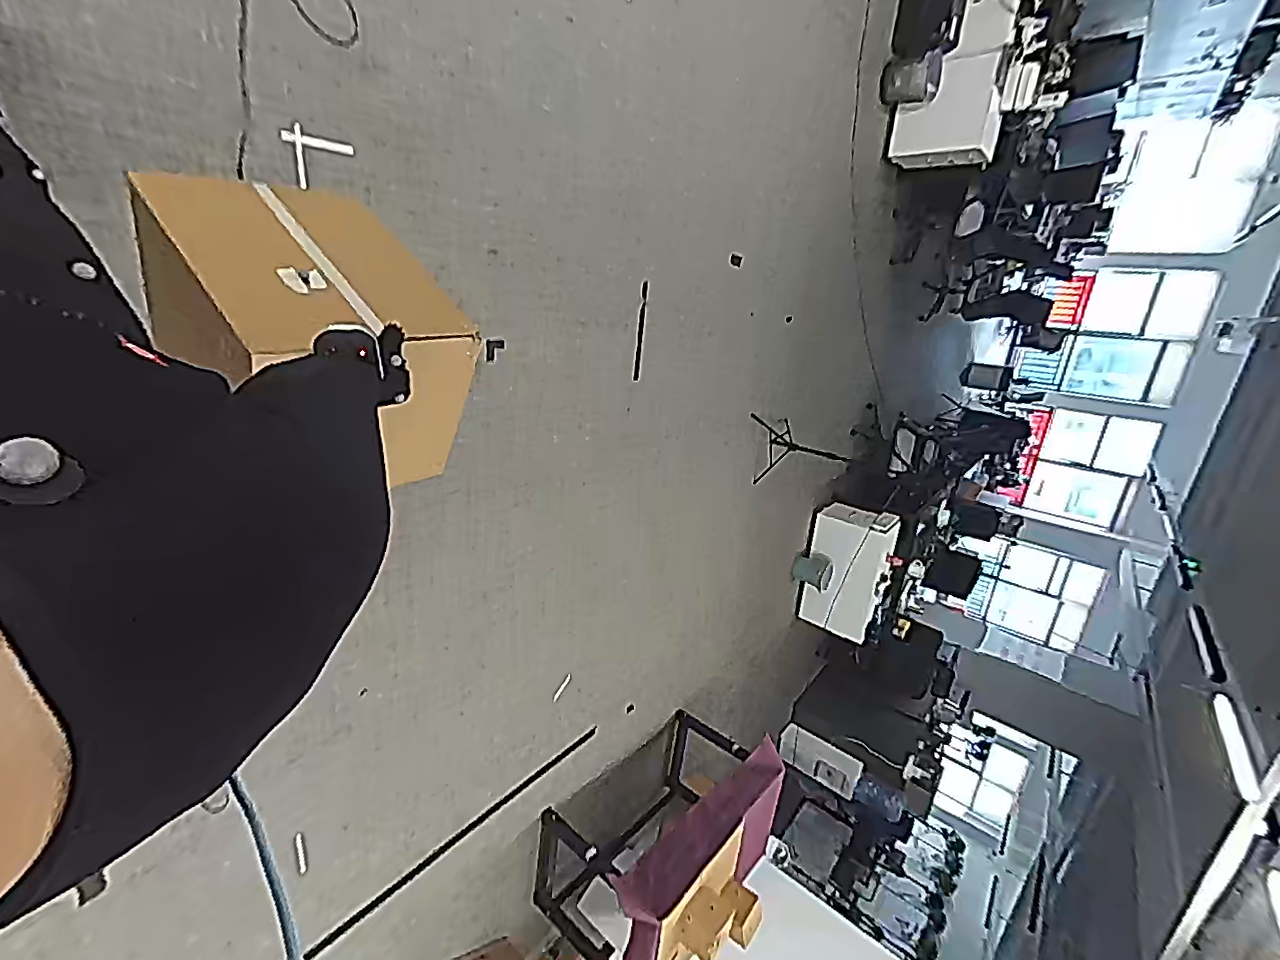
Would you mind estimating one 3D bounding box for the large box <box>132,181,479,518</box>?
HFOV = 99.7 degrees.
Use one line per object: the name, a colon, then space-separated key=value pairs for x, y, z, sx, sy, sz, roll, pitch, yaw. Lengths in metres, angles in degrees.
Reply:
large box: x=-0.542 y=-0.213 z=0.886 sx=0.320 sy=0.408 sz=0.320 roll=-24 pitch=154 yaw=-47
